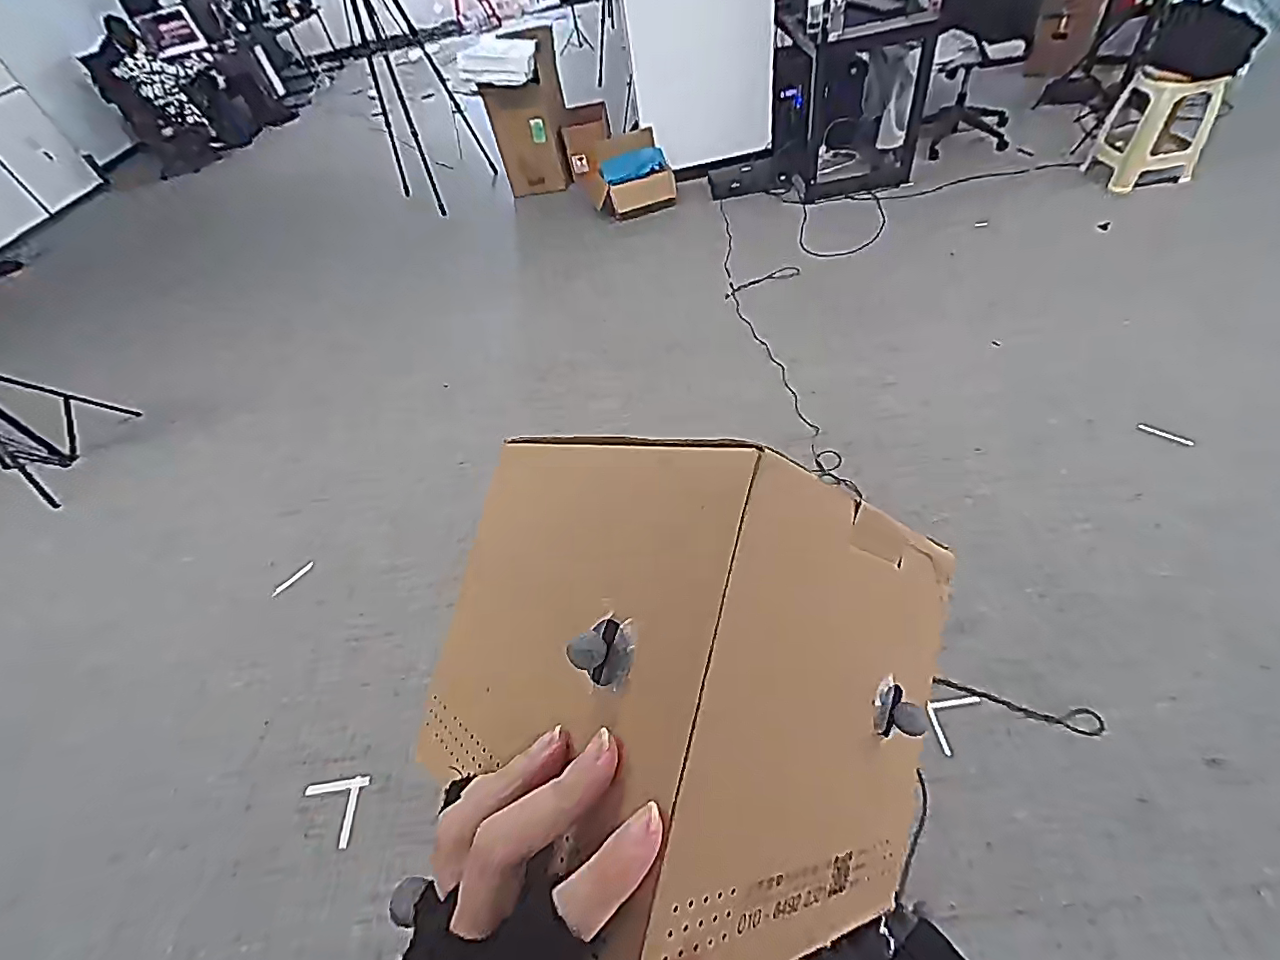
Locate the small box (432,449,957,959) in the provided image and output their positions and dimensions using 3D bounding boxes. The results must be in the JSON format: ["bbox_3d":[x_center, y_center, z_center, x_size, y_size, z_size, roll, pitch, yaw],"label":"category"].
[{"bbox_3d":[0.022,0.091,0.270,0.179,0.168,0.176,5,77,50],"label":"small box"}]
